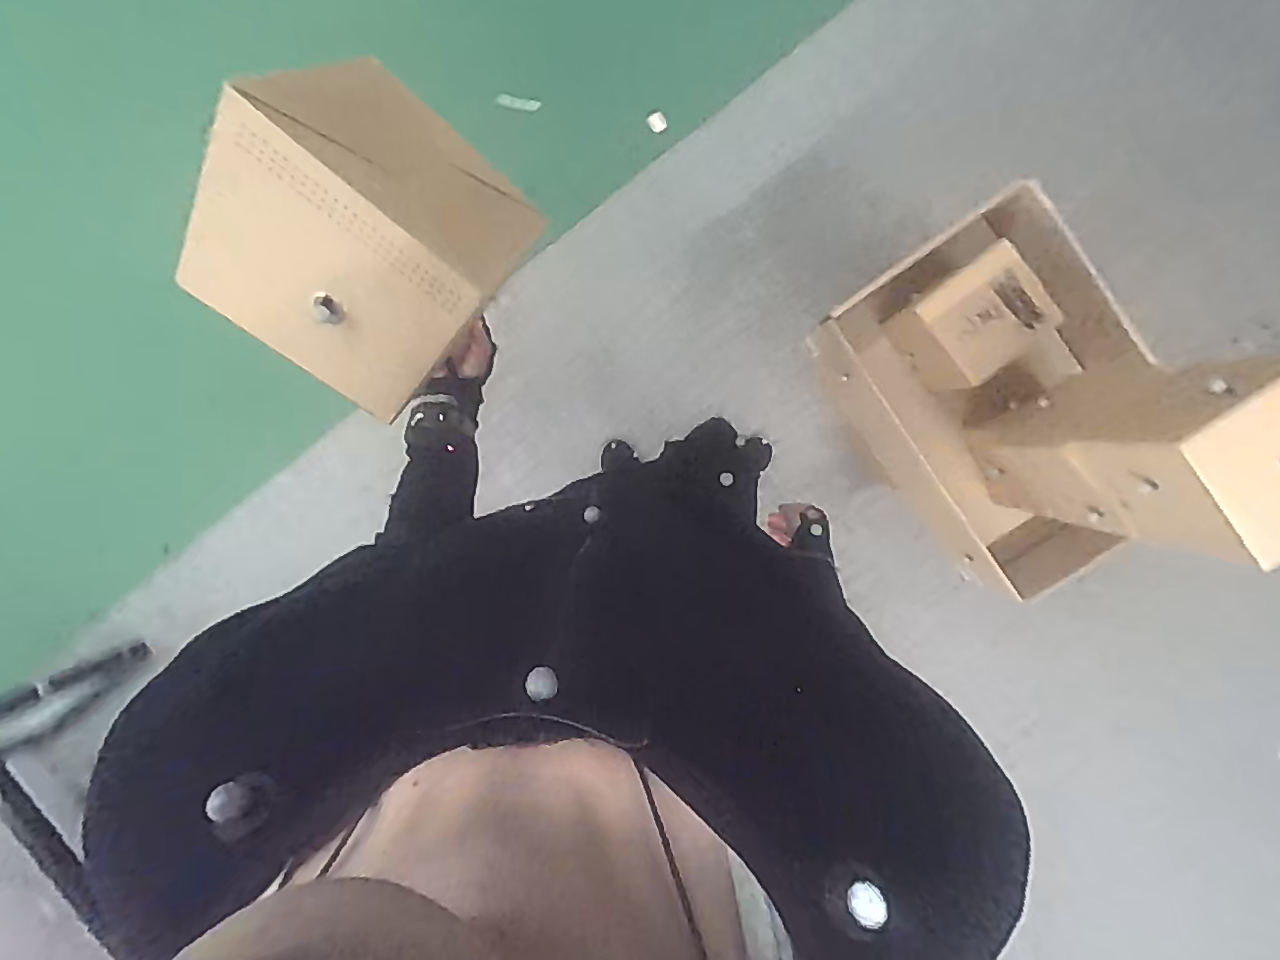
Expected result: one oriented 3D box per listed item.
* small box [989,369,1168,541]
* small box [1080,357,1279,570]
[{"bbox_3d":[0.676,-0.039,0.798,0.168,0.176,0.179,-43,90,5],"label":"small box"},{"bbox_3d":[0.677,-0.023,0.637,0.179,0.176,0.168,-35,91,5],"label":"small box"}]
